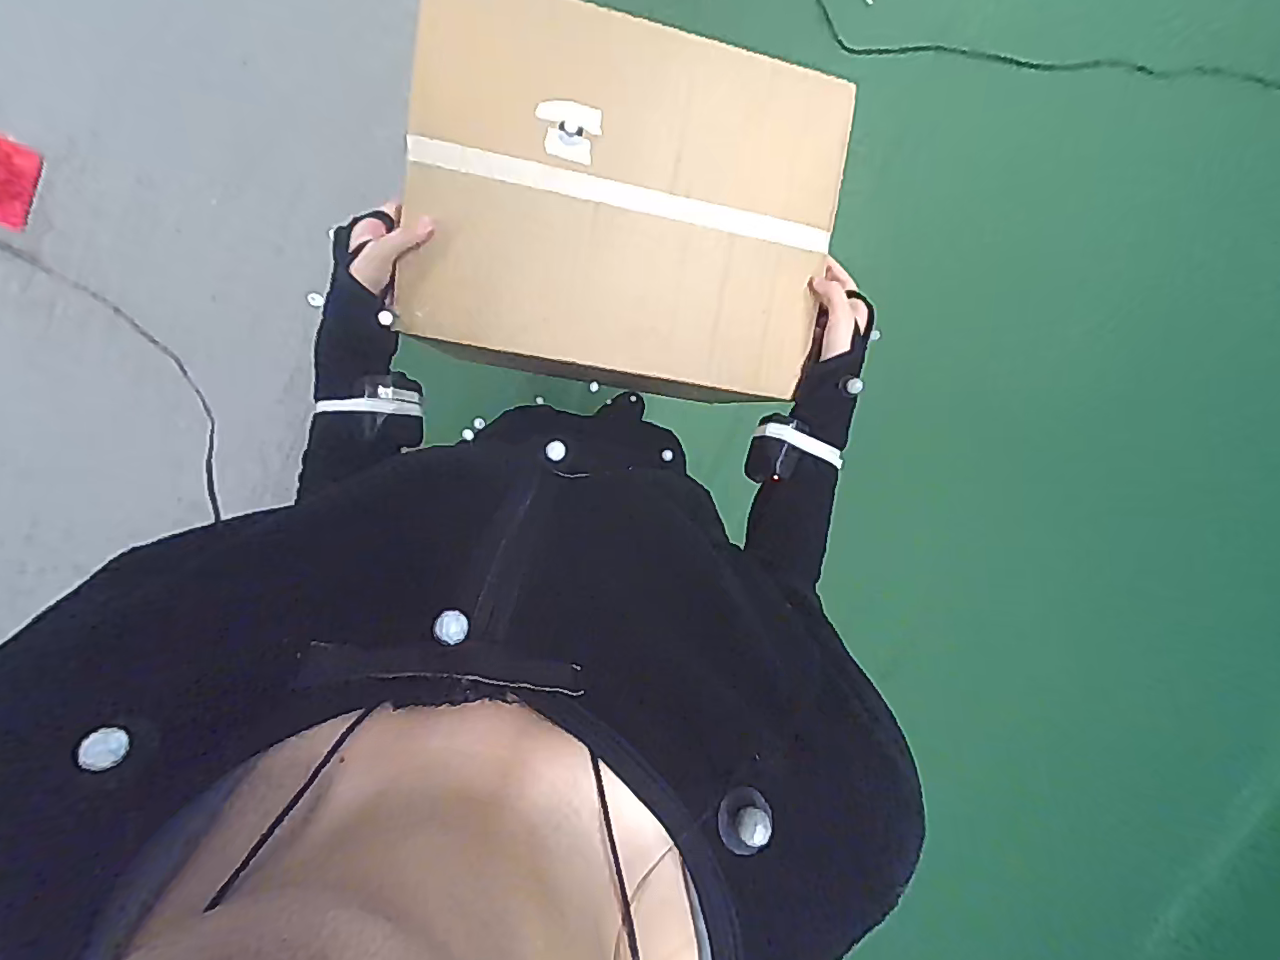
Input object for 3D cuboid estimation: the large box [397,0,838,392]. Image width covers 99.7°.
[{"bbox_3d":[-0.037,-0.288,0.668,0.408,0.320,0.320,7,96,-11],"label":"large box"}]
